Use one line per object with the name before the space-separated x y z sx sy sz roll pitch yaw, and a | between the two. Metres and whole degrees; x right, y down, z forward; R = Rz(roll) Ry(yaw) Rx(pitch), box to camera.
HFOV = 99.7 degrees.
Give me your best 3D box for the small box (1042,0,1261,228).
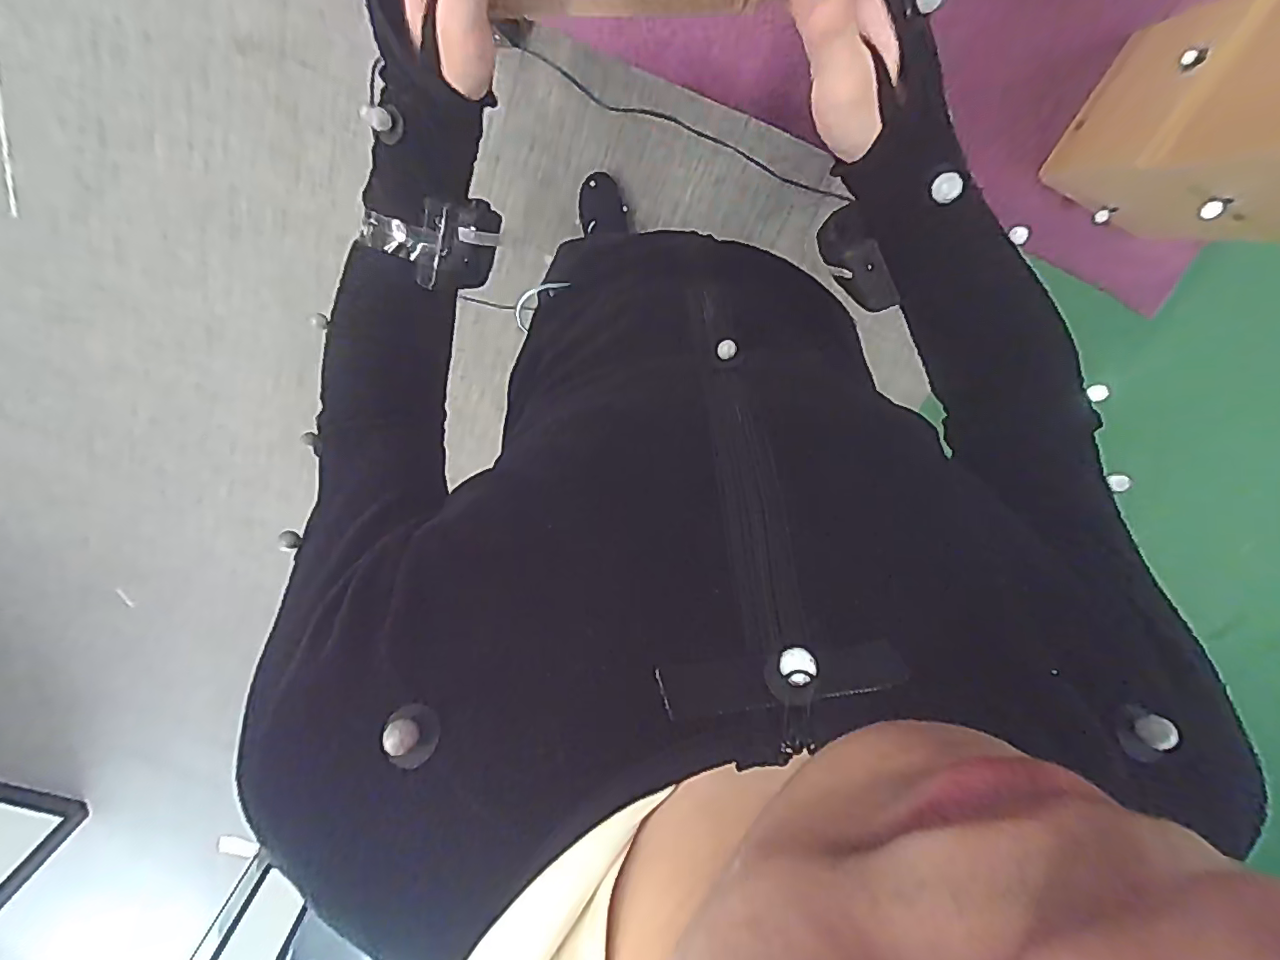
small box | 0.616 -0.404 0.601 0.179 0.176 0.168 23 115 -9
